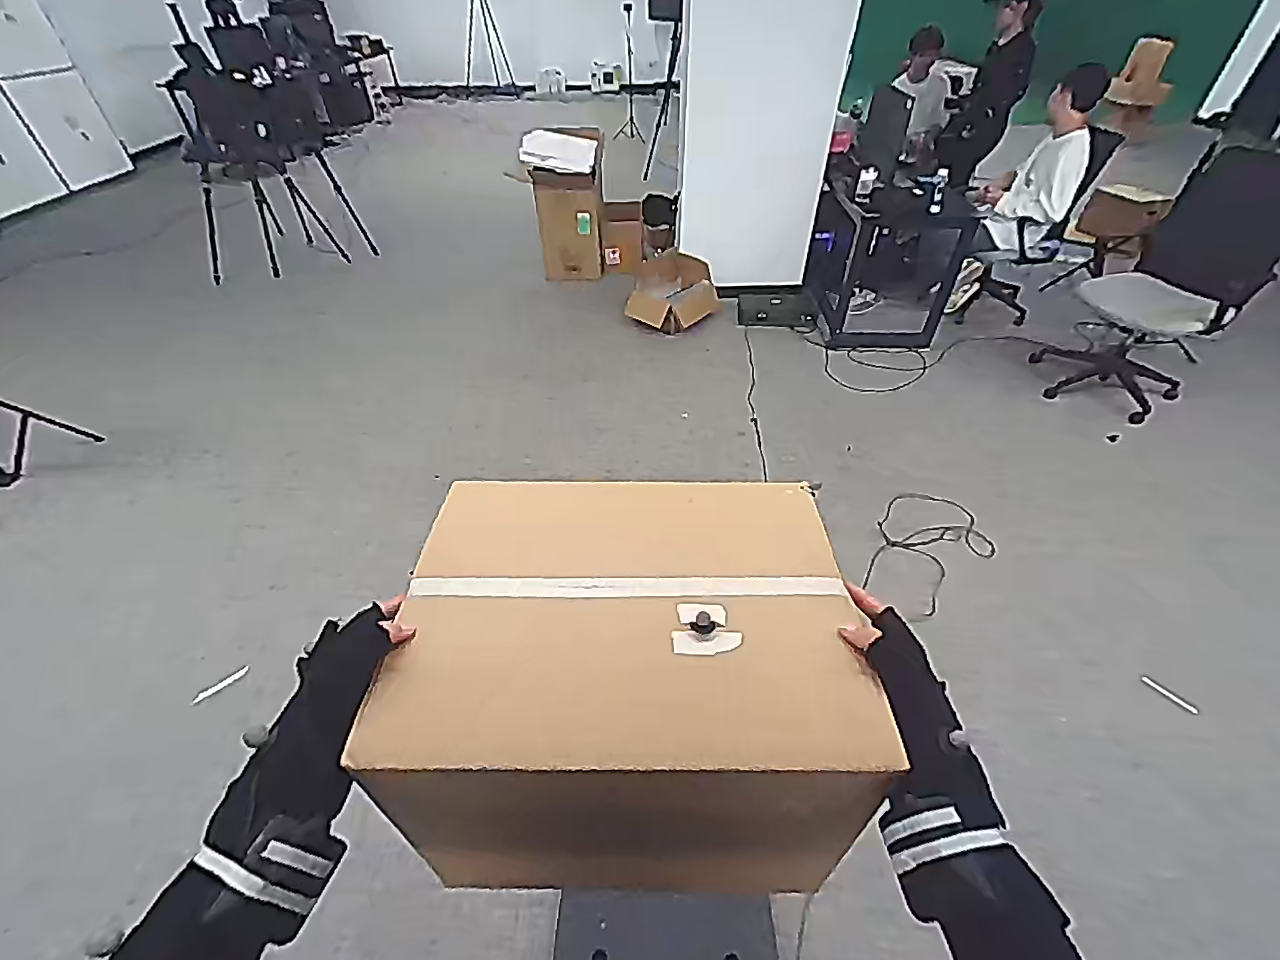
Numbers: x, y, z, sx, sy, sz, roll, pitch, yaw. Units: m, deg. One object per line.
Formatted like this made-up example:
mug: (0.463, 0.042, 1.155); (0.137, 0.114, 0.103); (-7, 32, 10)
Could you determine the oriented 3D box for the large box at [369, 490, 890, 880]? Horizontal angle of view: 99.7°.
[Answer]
large box: (-0.009, 0.224, 0.613); (0.408, 0.320, 0.320); (1, 40, 1)
